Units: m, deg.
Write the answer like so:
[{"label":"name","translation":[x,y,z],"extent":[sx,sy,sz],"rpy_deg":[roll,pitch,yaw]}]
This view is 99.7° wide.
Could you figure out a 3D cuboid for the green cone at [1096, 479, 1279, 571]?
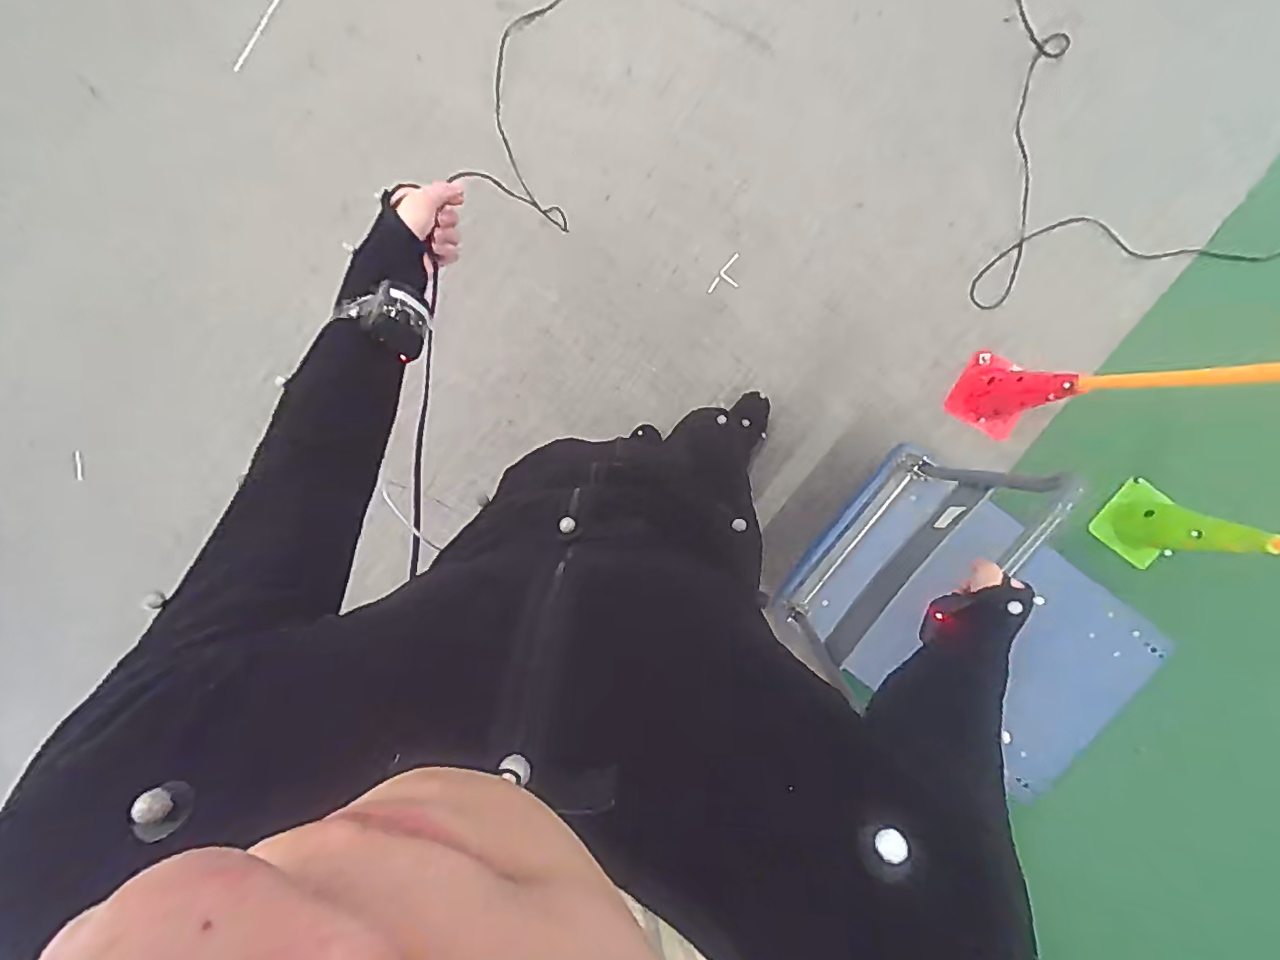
[{"label":"green cone","translation":[1.388,0.140,1.326],"extent":[0.202,0.368,0.200],"rpy_deg":[37,95,0]}]
